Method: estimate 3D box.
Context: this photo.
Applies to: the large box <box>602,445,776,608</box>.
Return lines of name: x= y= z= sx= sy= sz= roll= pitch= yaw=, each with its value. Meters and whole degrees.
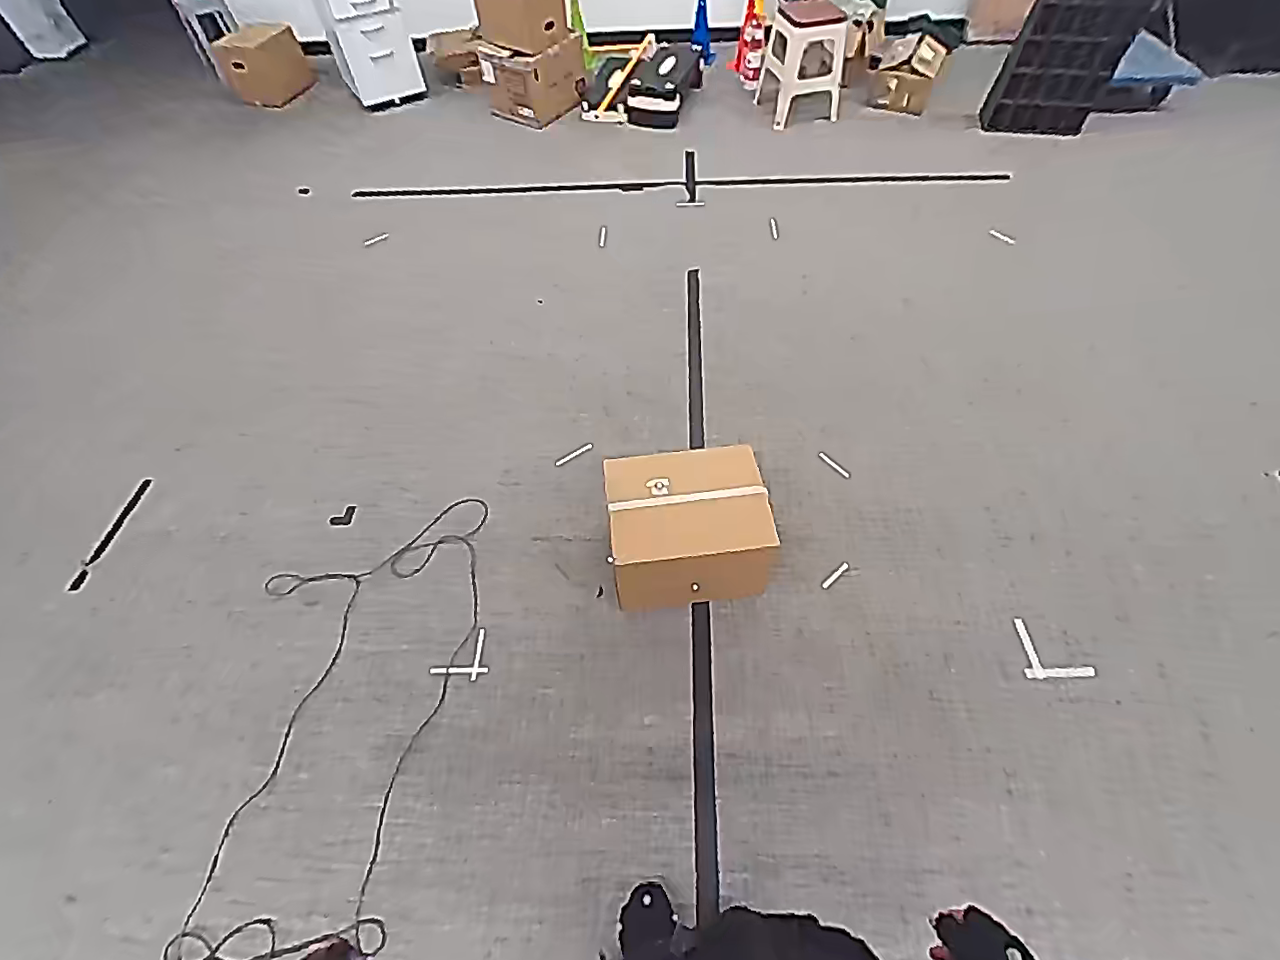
large box: x=0.121 y=0.136 z=1.495 sx=0.408 sy=0.320 sz=0.320 roll=-7 pitch=56 yaw=-1
